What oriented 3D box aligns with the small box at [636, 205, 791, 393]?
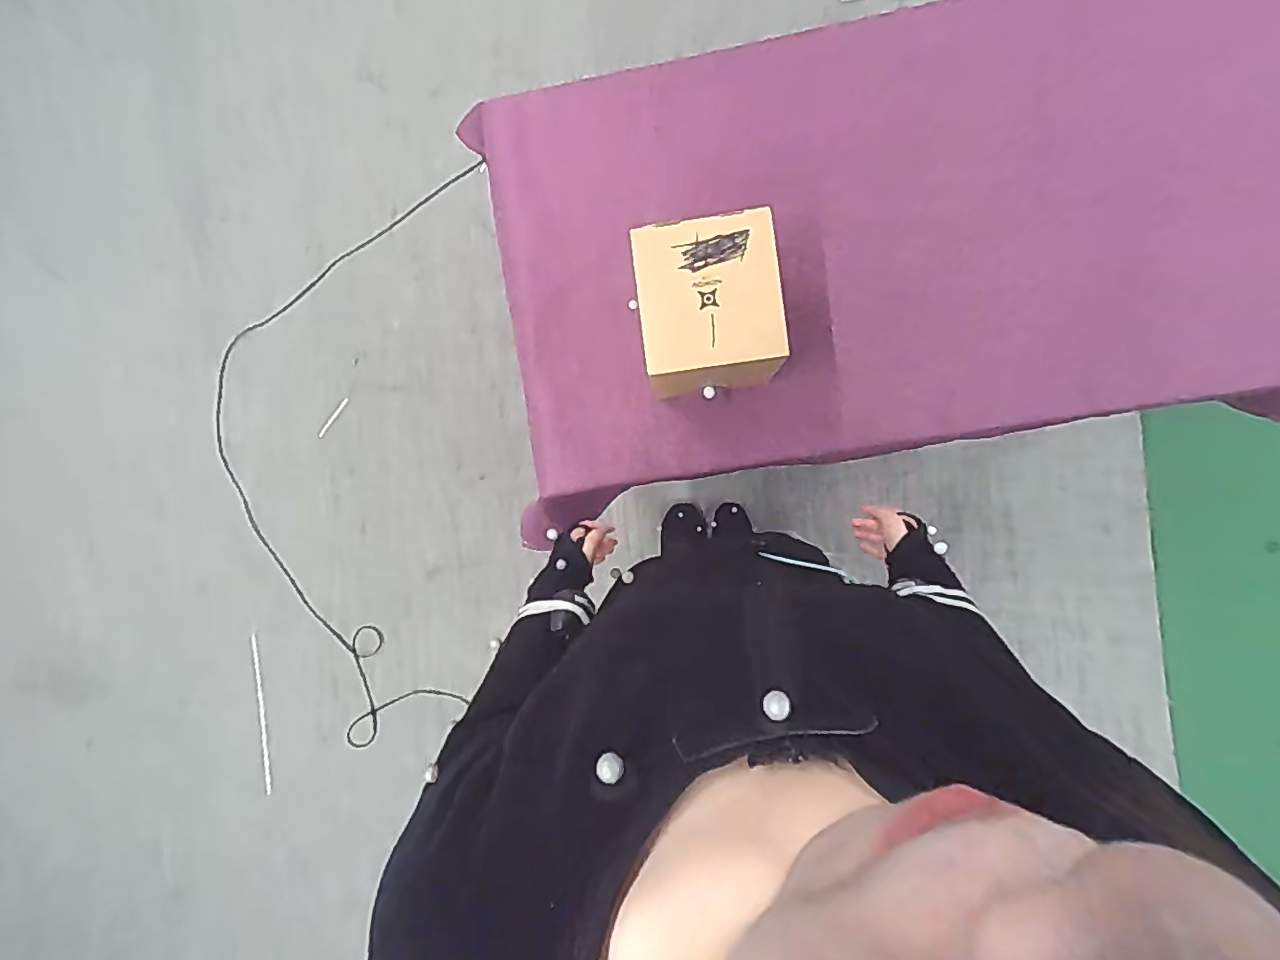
[{"bbox_3d":[0.089,-0.220,0.701,0.168,0.176,0.179,-7,90,5],"label":"small box"}]
